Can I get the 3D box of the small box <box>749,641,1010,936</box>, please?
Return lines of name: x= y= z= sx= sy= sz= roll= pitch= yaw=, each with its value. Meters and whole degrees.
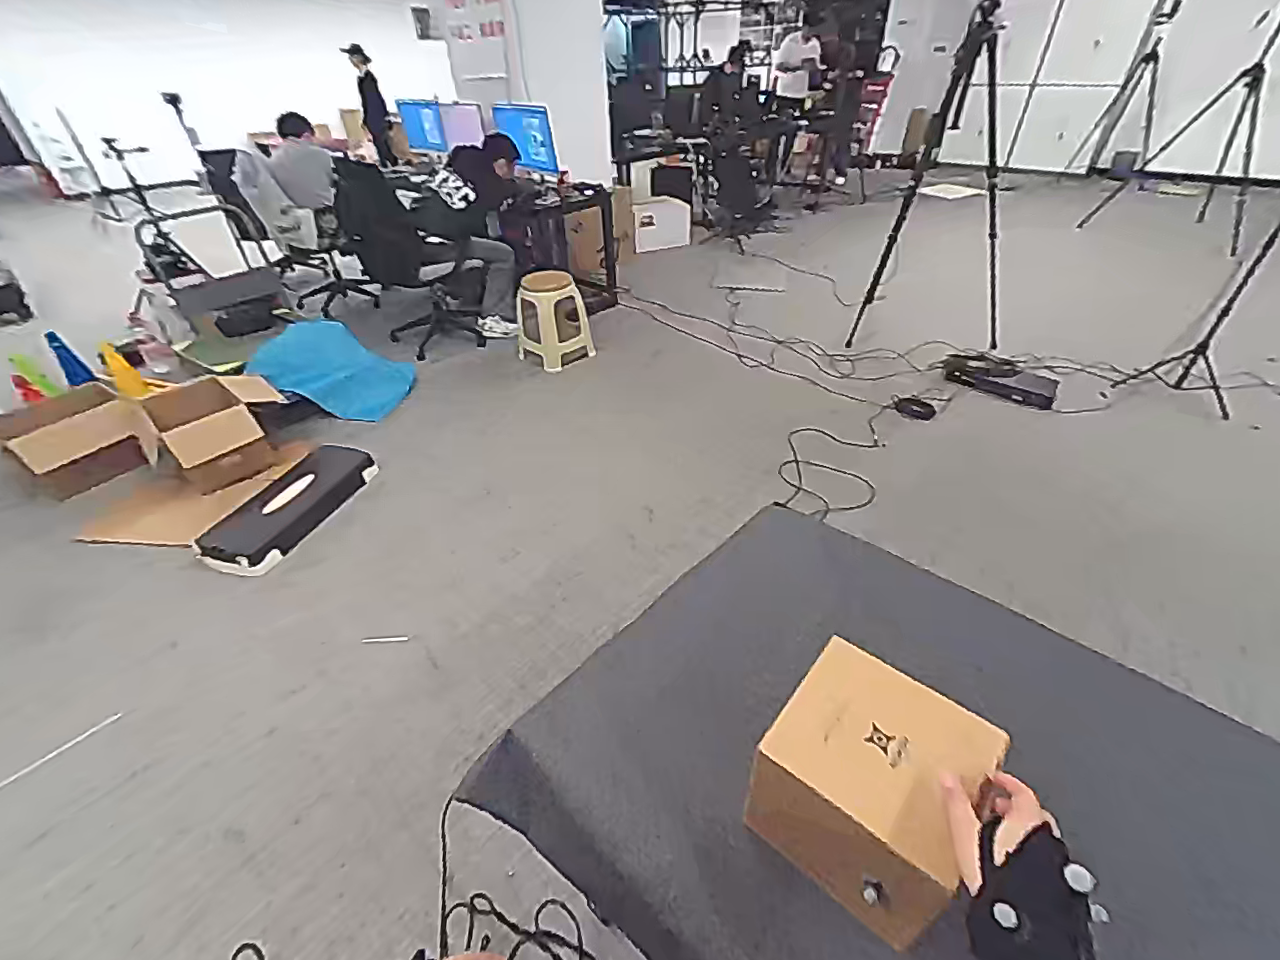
small box: x=0.229 y=0.309 z=0.547 sx=0.179 sy=0.176 sz=0.168 roll=25 pitch=44 yaw=33
